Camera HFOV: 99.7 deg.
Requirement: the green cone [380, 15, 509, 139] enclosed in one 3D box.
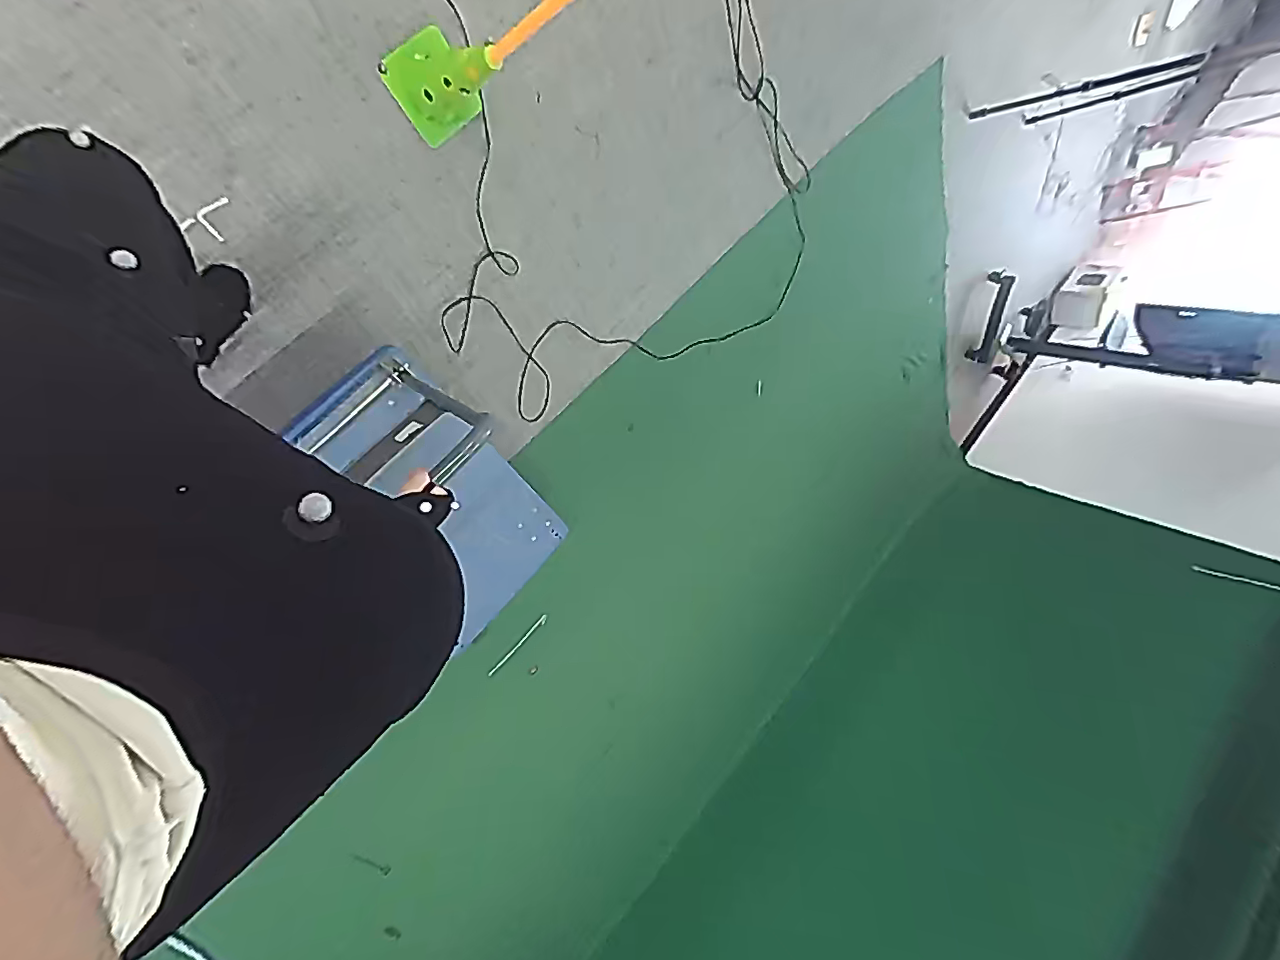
[{"bbox_3d":[-0.402,-0.942,1.227,0.202,0.368,0.200,-50,135,-13],"label":"green cone"}]
